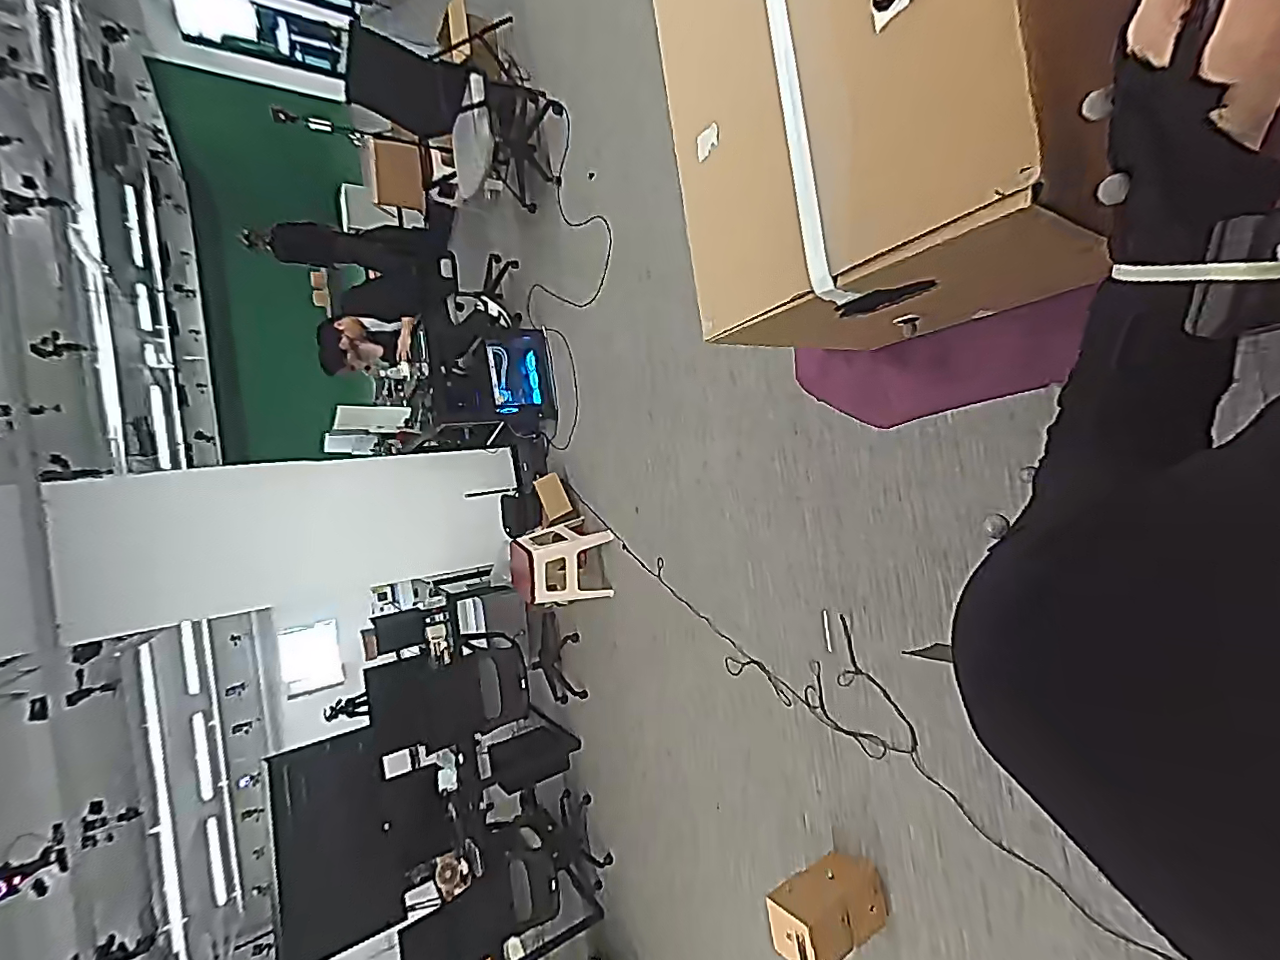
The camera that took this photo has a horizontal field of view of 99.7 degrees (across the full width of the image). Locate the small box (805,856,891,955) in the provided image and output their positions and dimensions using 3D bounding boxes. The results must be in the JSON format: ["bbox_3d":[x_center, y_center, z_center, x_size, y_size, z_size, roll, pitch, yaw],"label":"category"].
[{"bbox_3d":[0.672,1.362,1.749,0.179,0.176,0.168,-22,78,57],"label":"small box"}]
